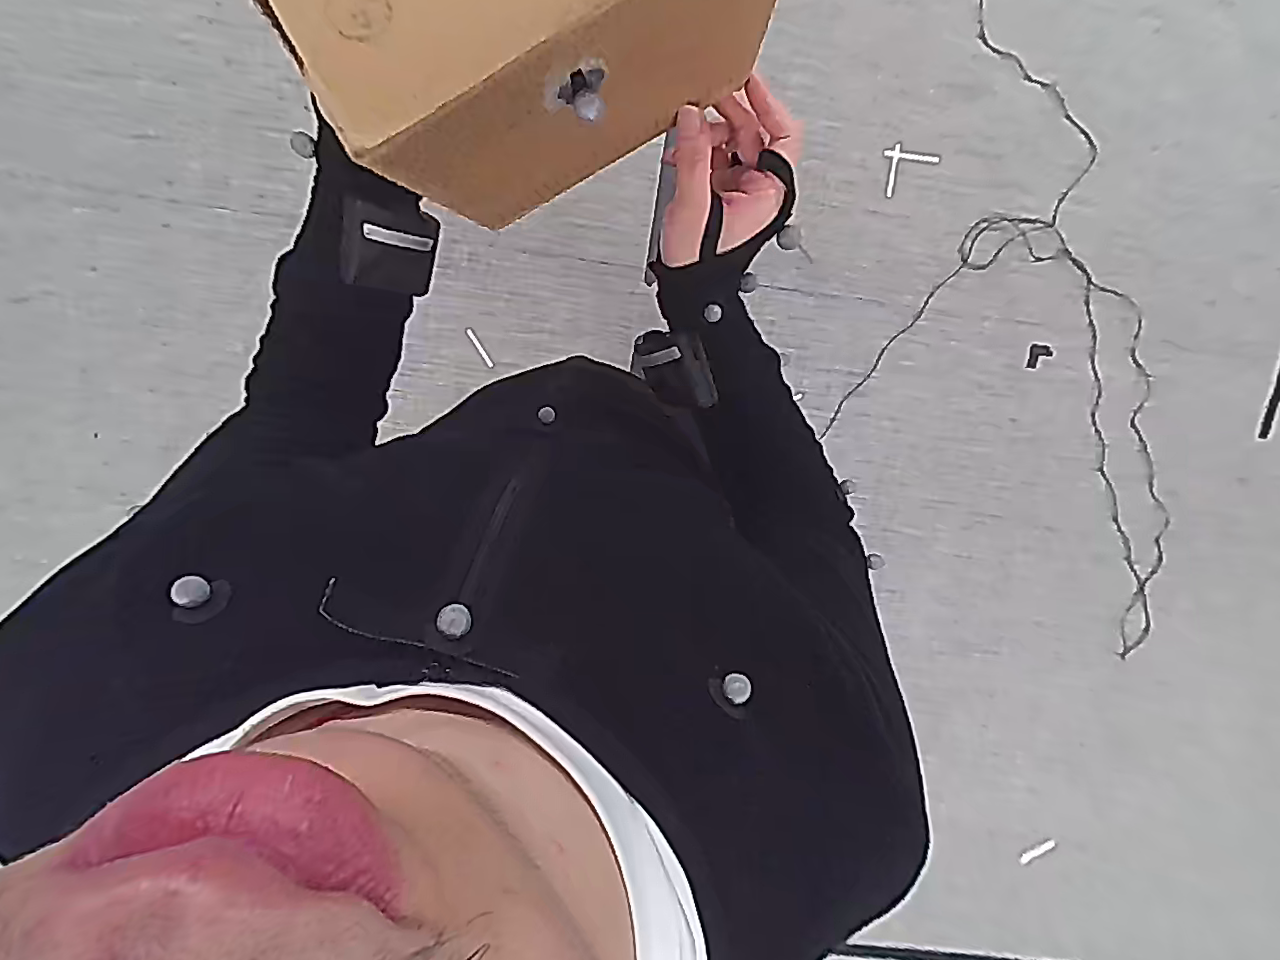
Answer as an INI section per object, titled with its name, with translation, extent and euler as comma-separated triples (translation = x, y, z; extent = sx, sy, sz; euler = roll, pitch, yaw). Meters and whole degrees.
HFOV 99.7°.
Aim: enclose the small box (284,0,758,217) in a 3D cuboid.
[small box]
translation = -0.052, -0.244, 0.241
extent = 0.179, 0.176, 0.168
euler = -25, 105, 9
